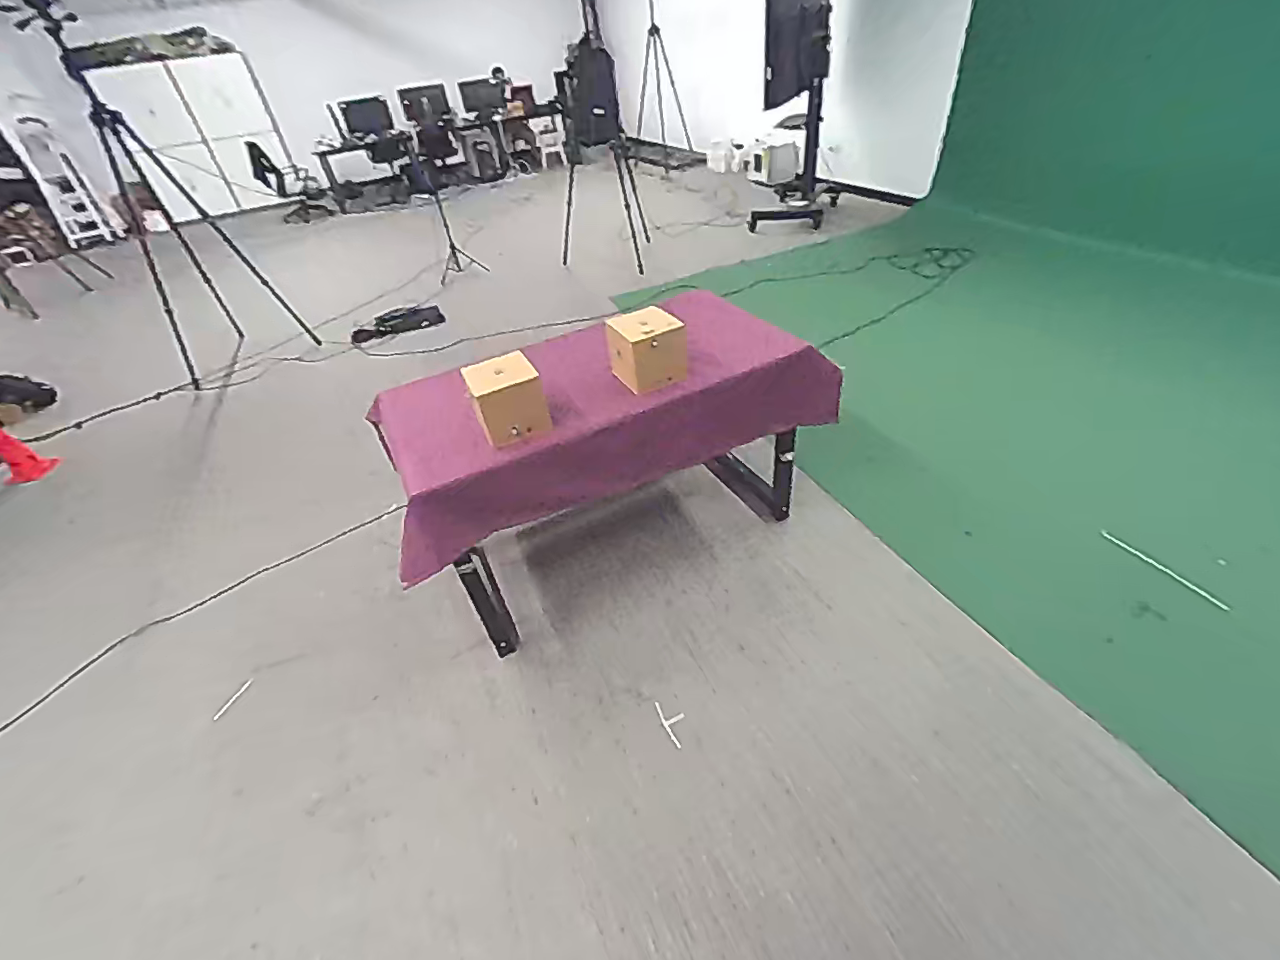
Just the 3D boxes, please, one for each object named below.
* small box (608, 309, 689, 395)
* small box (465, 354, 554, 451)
[{"bbox_3d":[0.026,-0.366,1.547,0.168,0.176,0.179,-24,41,-16],"label":"small box"},{"bbox_3d":[-0.342,-0.205,1.424,0.168,0.176,0.179,-22,42,-15],"label":"small box"}]
